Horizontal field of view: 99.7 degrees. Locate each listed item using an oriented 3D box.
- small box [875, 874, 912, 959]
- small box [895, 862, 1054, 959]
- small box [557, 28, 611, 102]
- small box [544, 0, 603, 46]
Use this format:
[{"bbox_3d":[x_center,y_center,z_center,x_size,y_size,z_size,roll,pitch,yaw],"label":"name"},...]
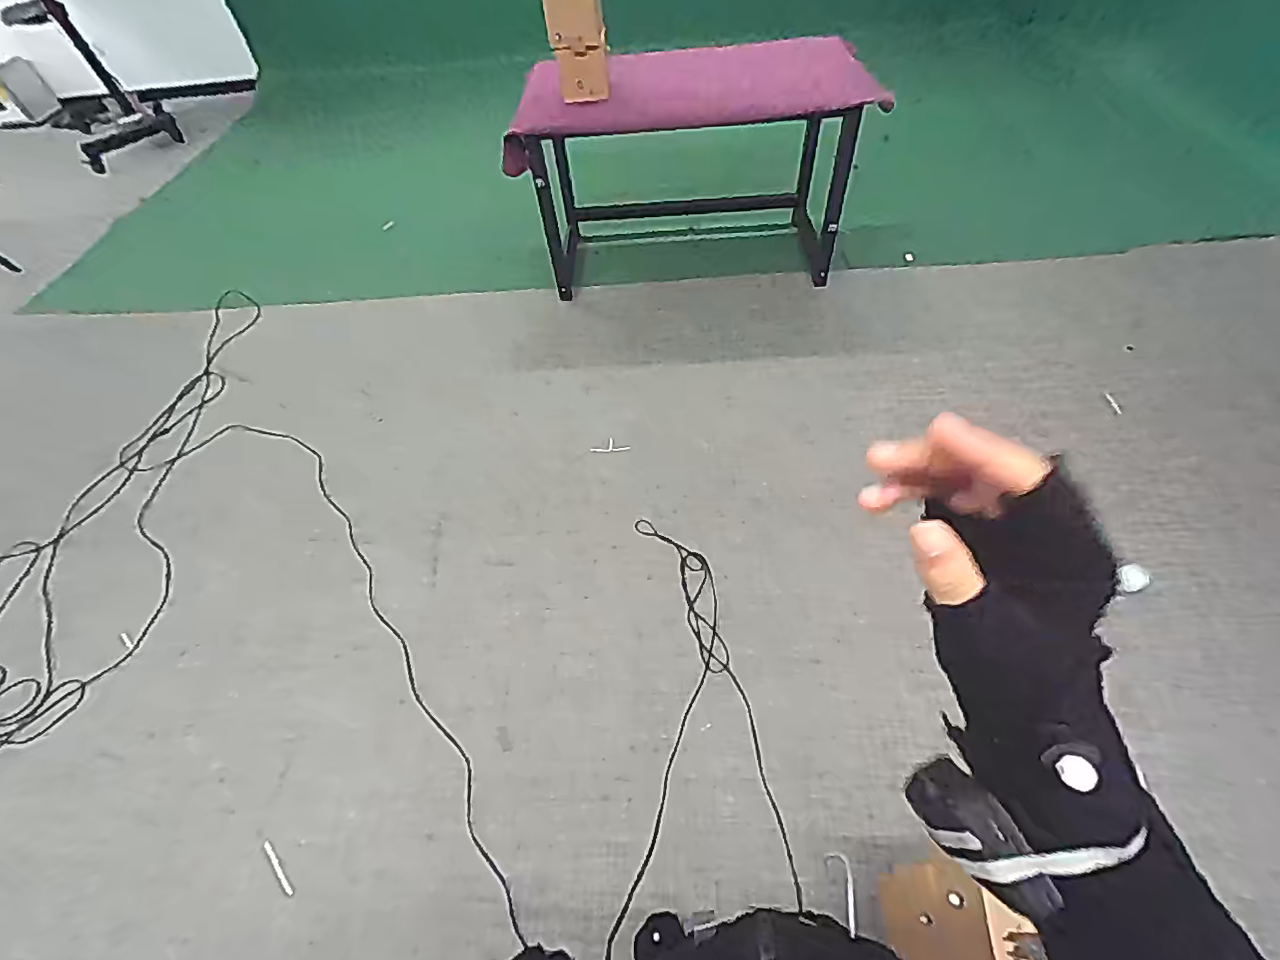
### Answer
[{"bbox_3d":[0.570,0.870,1.035,0.168,0.176,0.179,1,54,5],"label":"small box"},{"bbox_3d":[0.556,0.758,0.914,0.168,0.176,0.179,-2,54,3],"label":"small box"},{"bbox_3d":[-0.195,-1.470,1.917,0.168,0.176,0.179,-3,54,2],"label":"small box"},{"bbox_3d":[-0.216,-1.554,1.777,0.168,0.176,0.179,1,54,5],"label":"small box"}]
